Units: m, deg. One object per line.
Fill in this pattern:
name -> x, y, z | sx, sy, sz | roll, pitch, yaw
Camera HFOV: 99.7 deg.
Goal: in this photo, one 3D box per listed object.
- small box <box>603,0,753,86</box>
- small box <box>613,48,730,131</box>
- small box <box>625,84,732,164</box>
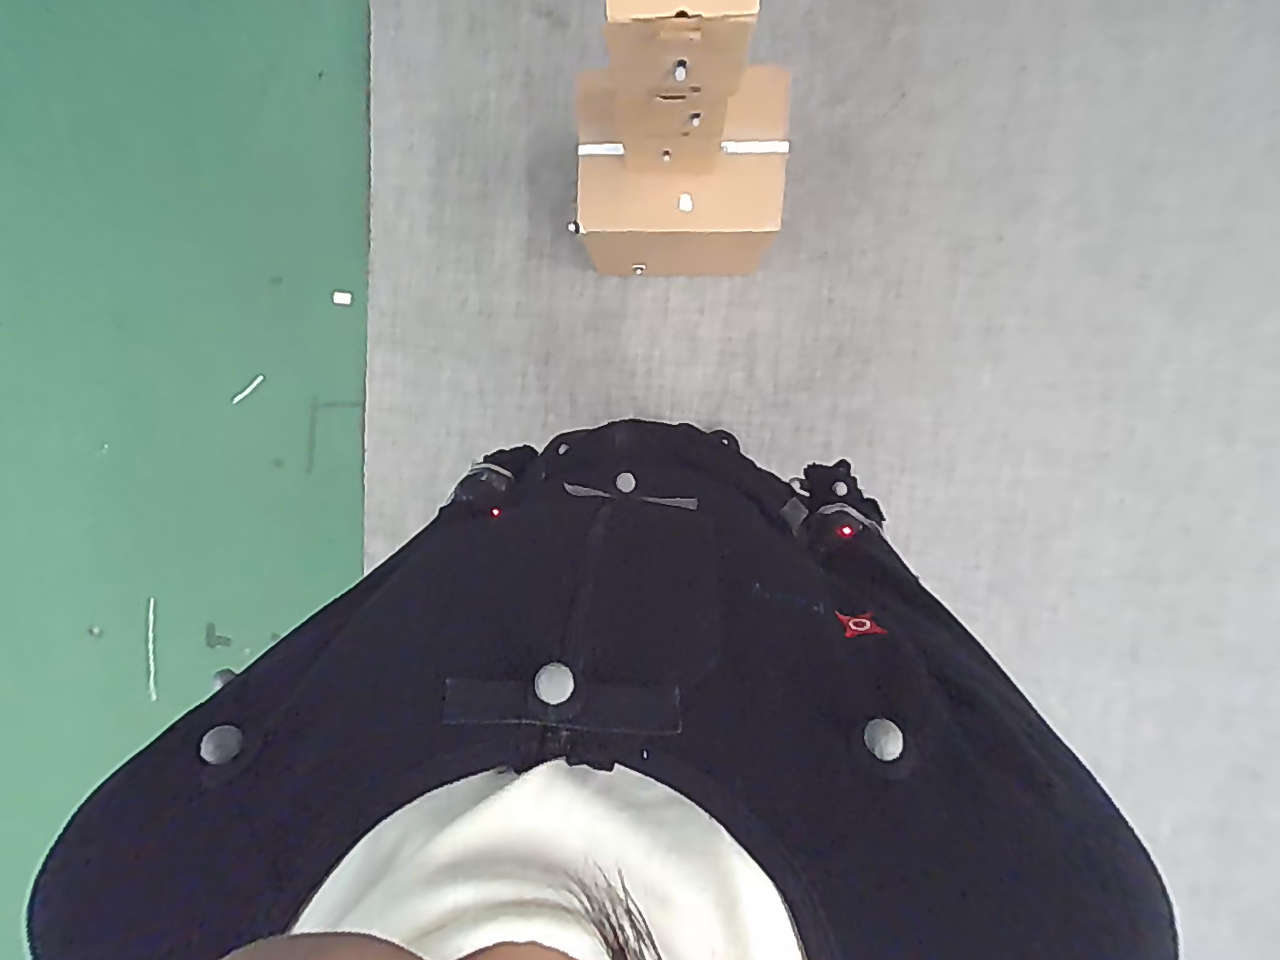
small box -> 0.052, -0.601, 0.642 | 0.168, 0.176, 0.179 | 3, 103, 4
small box -> 0.053, -0.644, 0.799 | 0.168, 0.176, 0.179 | 3, 101, 4
small box -> 0.069, -0.677, 0.957 | 0.179, 0.176, 0.168 | 2, 103, 5
